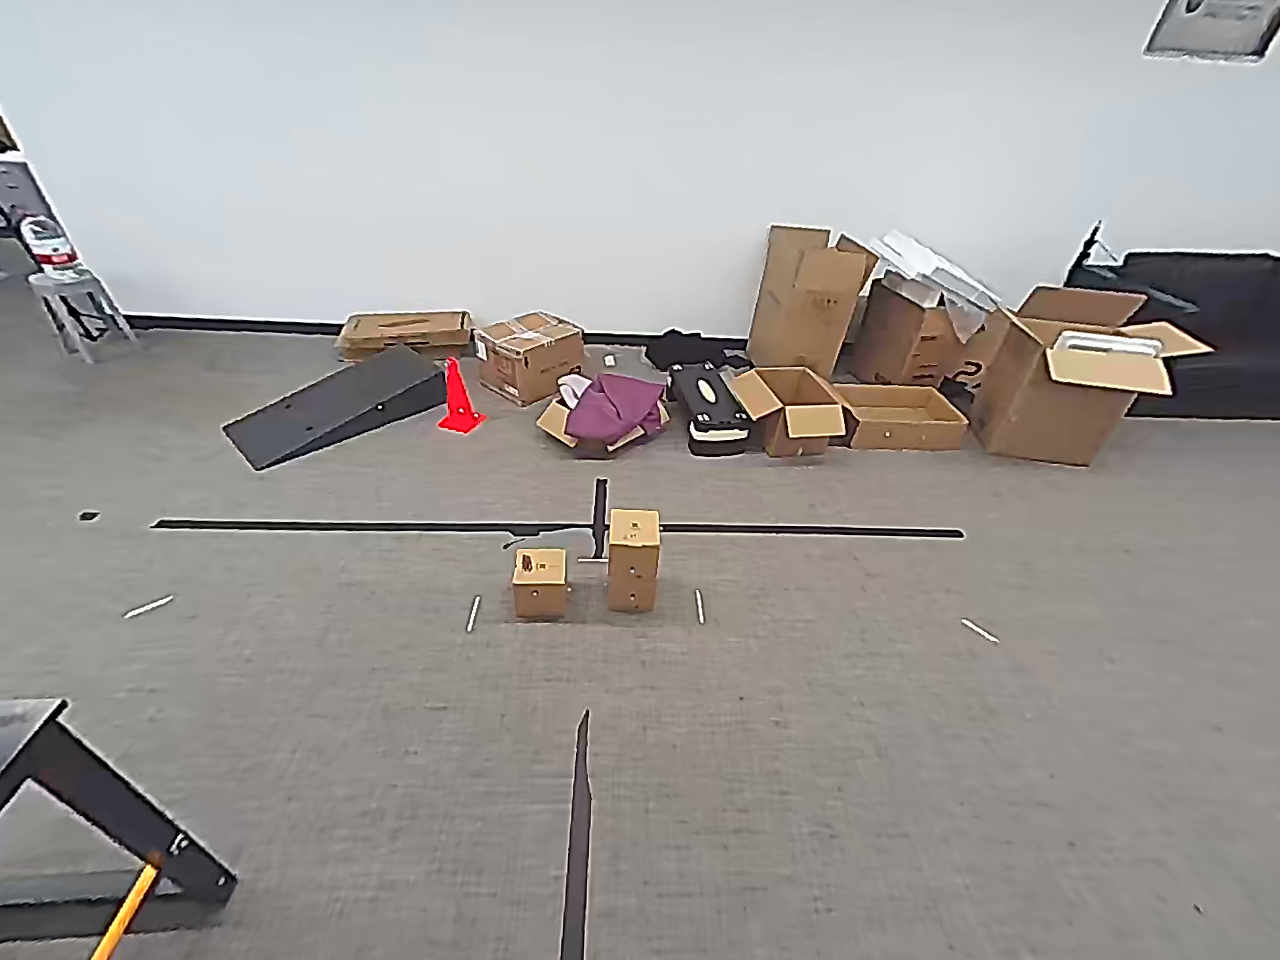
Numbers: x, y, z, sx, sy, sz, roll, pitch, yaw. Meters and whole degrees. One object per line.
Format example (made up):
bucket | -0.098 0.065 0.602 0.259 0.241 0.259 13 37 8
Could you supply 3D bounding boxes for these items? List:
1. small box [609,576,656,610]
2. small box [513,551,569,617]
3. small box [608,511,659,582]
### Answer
small box | -0.029 0.356 1.958 0.168 0.176 0.179 0 37 -4
small box | -0.346 0.370 1.908 0.179 0.176 0.168 0 37 -5
small box | -0.024 0.227 1.852 0.168 0.176 0.179 2 37 -2
